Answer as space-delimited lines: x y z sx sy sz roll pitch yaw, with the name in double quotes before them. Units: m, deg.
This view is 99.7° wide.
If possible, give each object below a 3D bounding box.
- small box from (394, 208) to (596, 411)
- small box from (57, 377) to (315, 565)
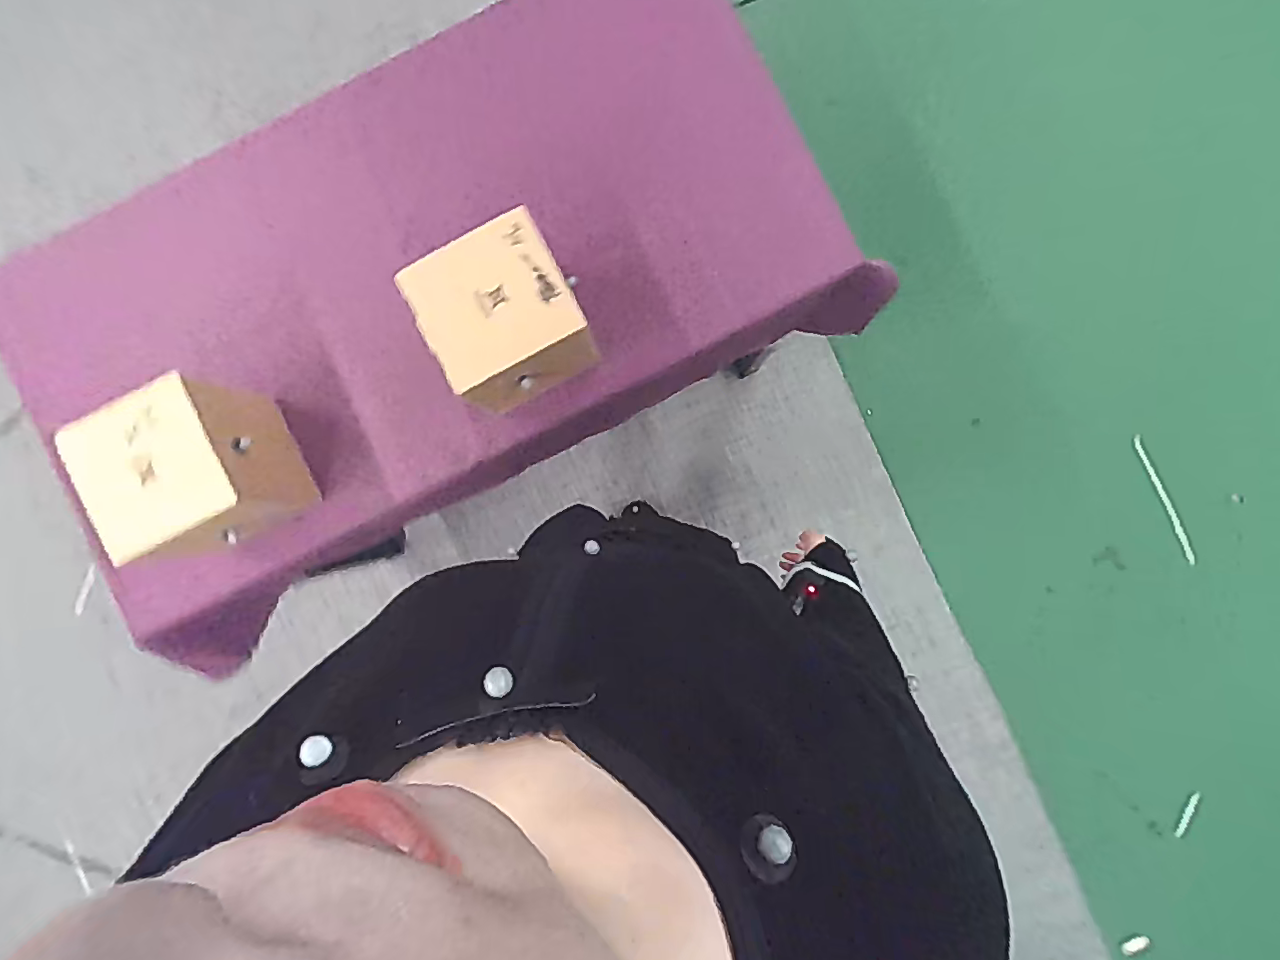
"small box" -0.176 -0.207 0.712 0.179 0.176 0.168 -28 88 1
"small box" -0.577 -0.010 0.715 0.168 0.176 0.179 -27 87 0
